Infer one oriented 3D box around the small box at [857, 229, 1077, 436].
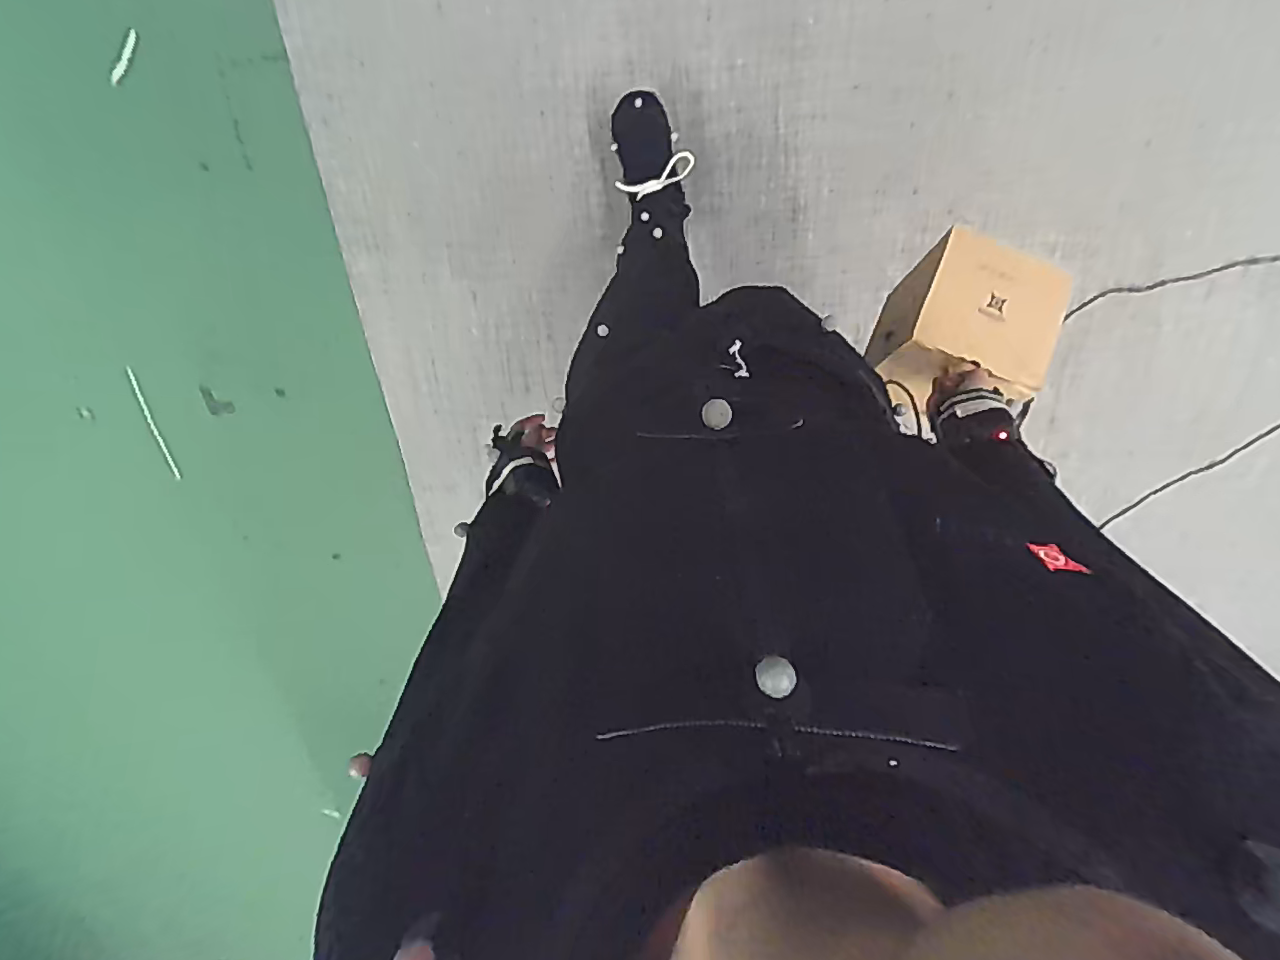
[{"bbox_3d":[0.416,-0.181,0.717,0.168,0.176,0.179,26,76,1],"label":"small box"}]
